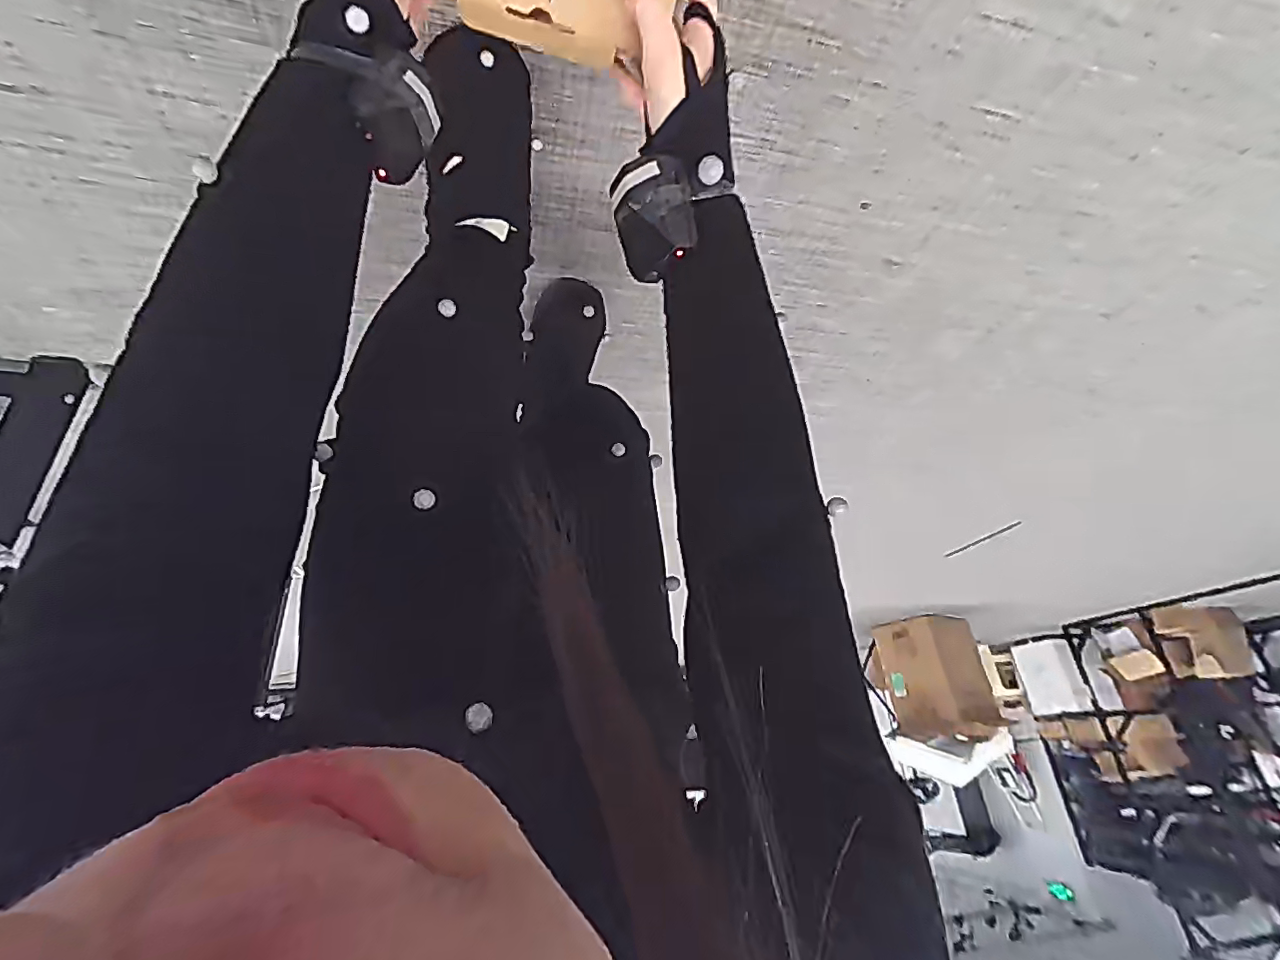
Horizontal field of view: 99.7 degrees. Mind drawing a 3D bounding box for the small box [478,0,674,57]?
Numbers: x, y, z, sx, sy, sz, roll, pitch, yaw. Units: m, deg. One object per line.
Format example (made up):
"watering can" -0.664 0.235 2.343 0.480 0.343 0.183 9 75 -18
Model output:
"small box" -0.046 -0.409 0.326 0.168 0.176 0.179 5 143 -16
